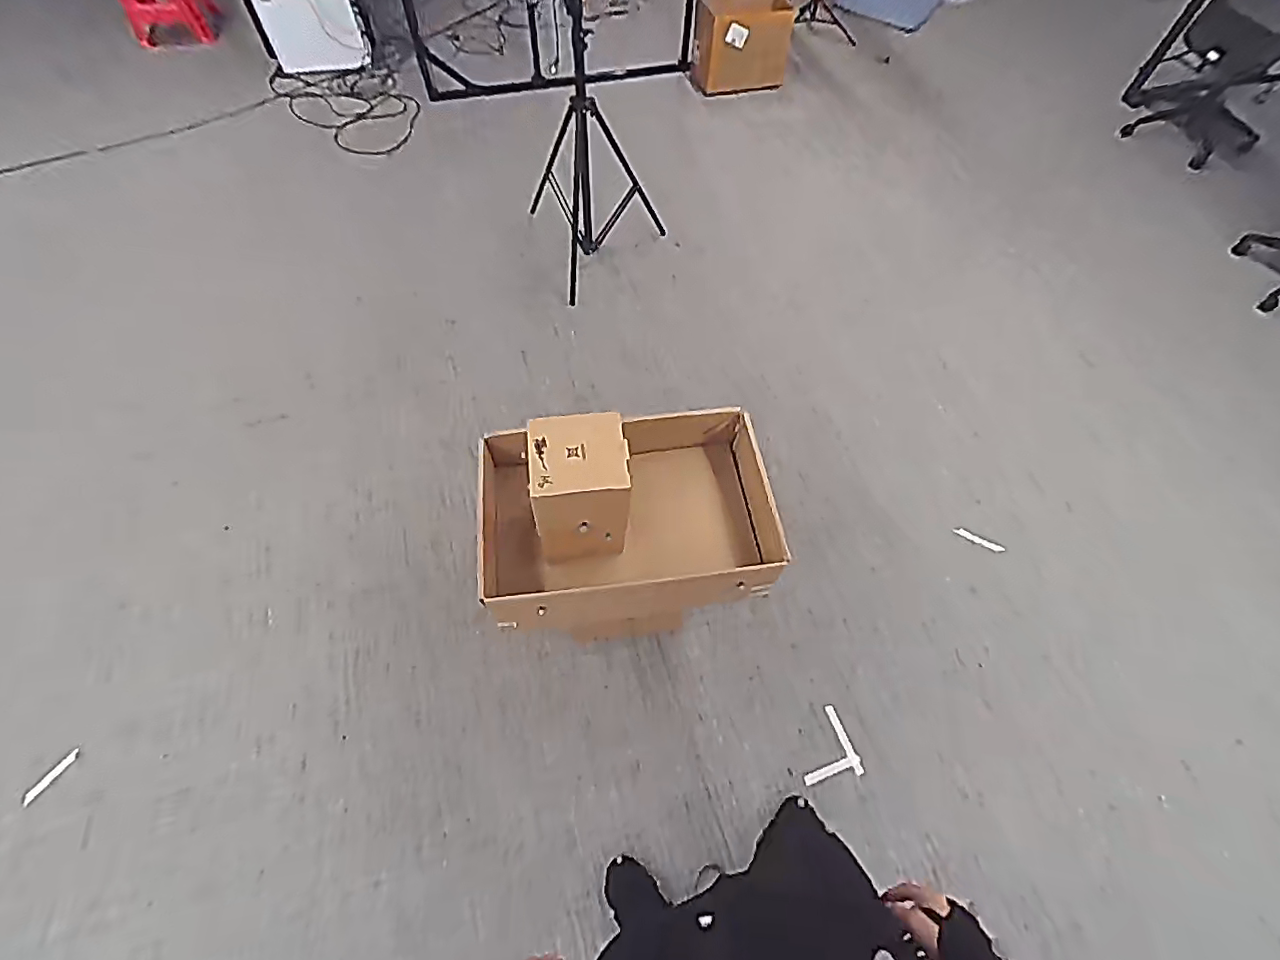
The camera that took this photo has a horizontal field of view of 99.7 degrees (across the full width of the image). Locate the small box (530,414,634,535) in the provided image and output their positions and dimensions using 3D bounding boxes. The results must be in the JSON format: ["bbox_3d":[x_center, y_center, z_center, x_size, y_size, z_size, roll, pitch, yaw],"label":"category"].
[{"bbox_3d":[-0.113,-0.007,1.029,0.179,0.176,0.168,-5,60,-7],"label":"small box"}]
